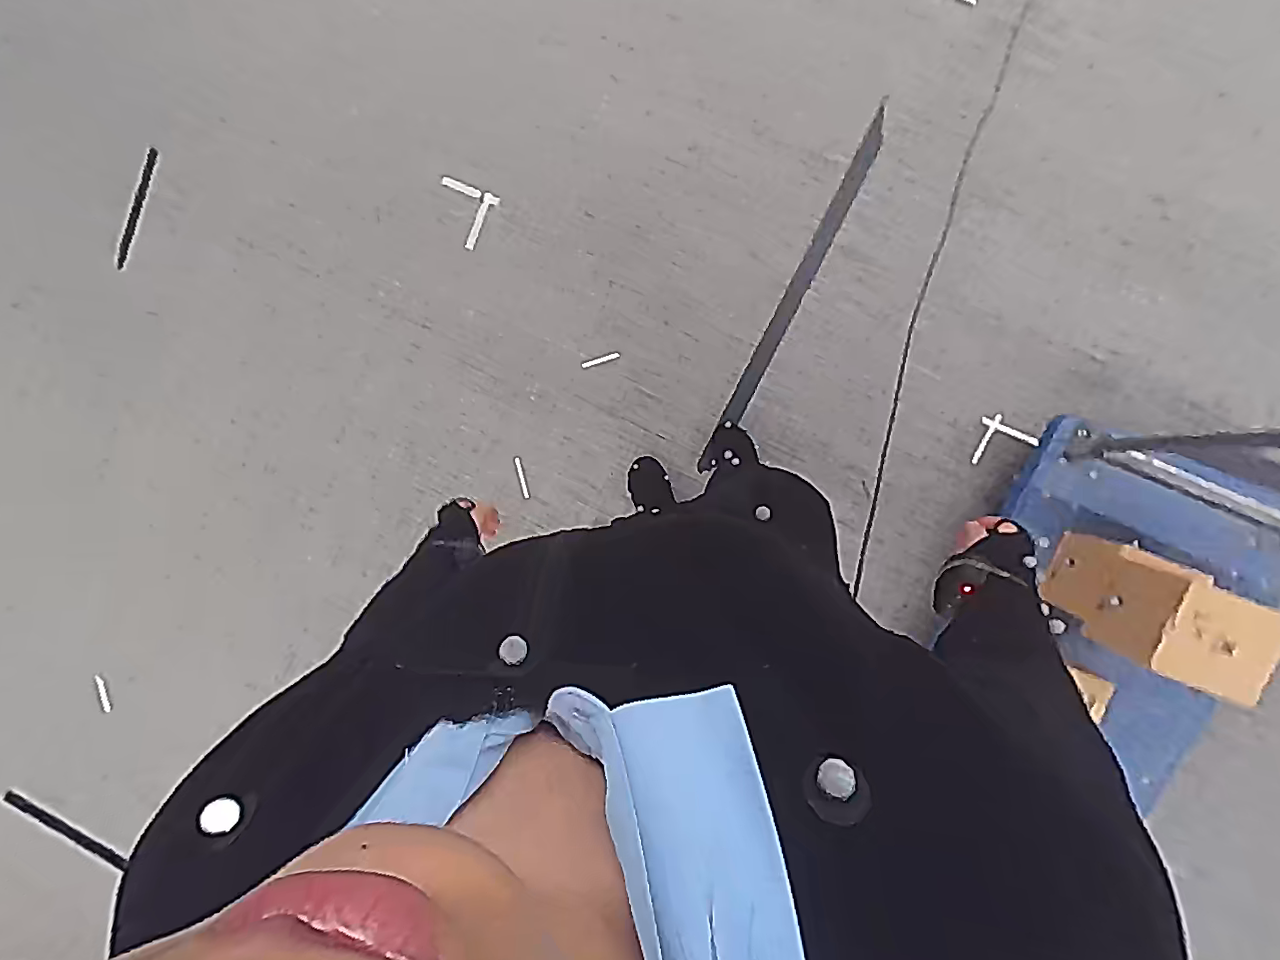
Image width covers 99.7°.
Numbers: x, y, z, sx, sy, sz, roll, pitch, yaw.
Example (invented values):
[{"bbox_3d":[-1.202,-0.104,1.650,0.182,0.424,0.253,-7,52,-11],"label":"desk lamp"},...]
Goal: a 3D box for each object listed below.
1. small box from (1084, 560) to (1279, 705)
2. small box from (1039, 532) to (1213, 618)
[{"bbox_3d":[0.964,0.259,0.964,0.179,0.176,0.168,22,97,5],"label":"small box"},{"bbox_3d":[0.994,0.221,1.124,0.179,0.176,0.168,21,97,5],"label":"small box"}]
